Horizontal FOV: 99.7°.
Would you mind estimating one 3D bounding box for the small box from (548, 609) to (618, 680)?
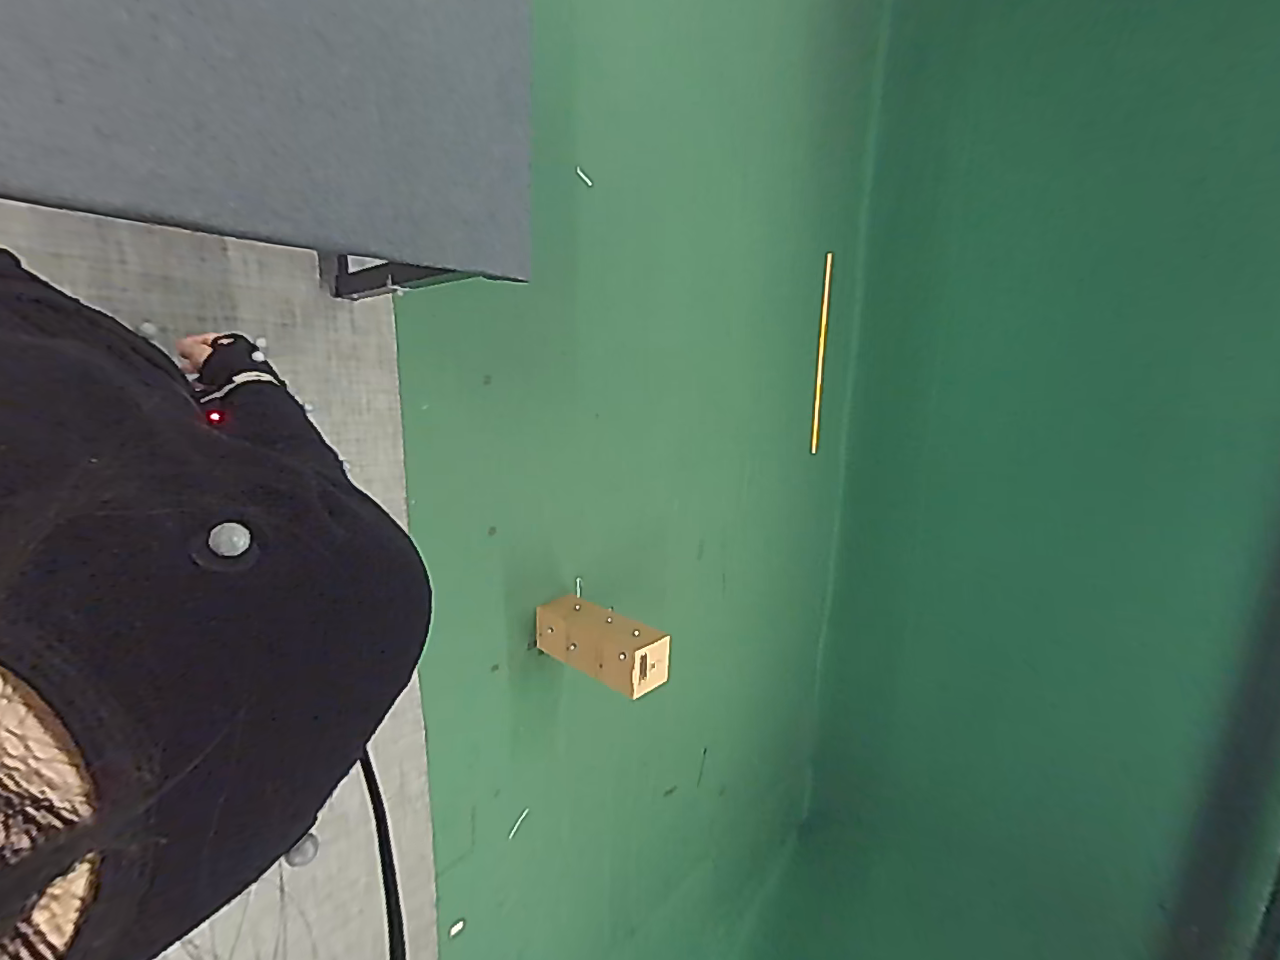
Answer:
[{"bbox_3d":[-0.200,0.571,1.906,0.179,0.176,0.168,-6,103,-49],"label":"small box"}]

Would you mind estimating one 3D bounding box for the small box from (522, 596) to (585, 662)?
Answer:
[{"bbox_3d":[-0.325,0.549,2.012,0.179,0.176,0.168,-10,106,-49],"label":"small box"}]
